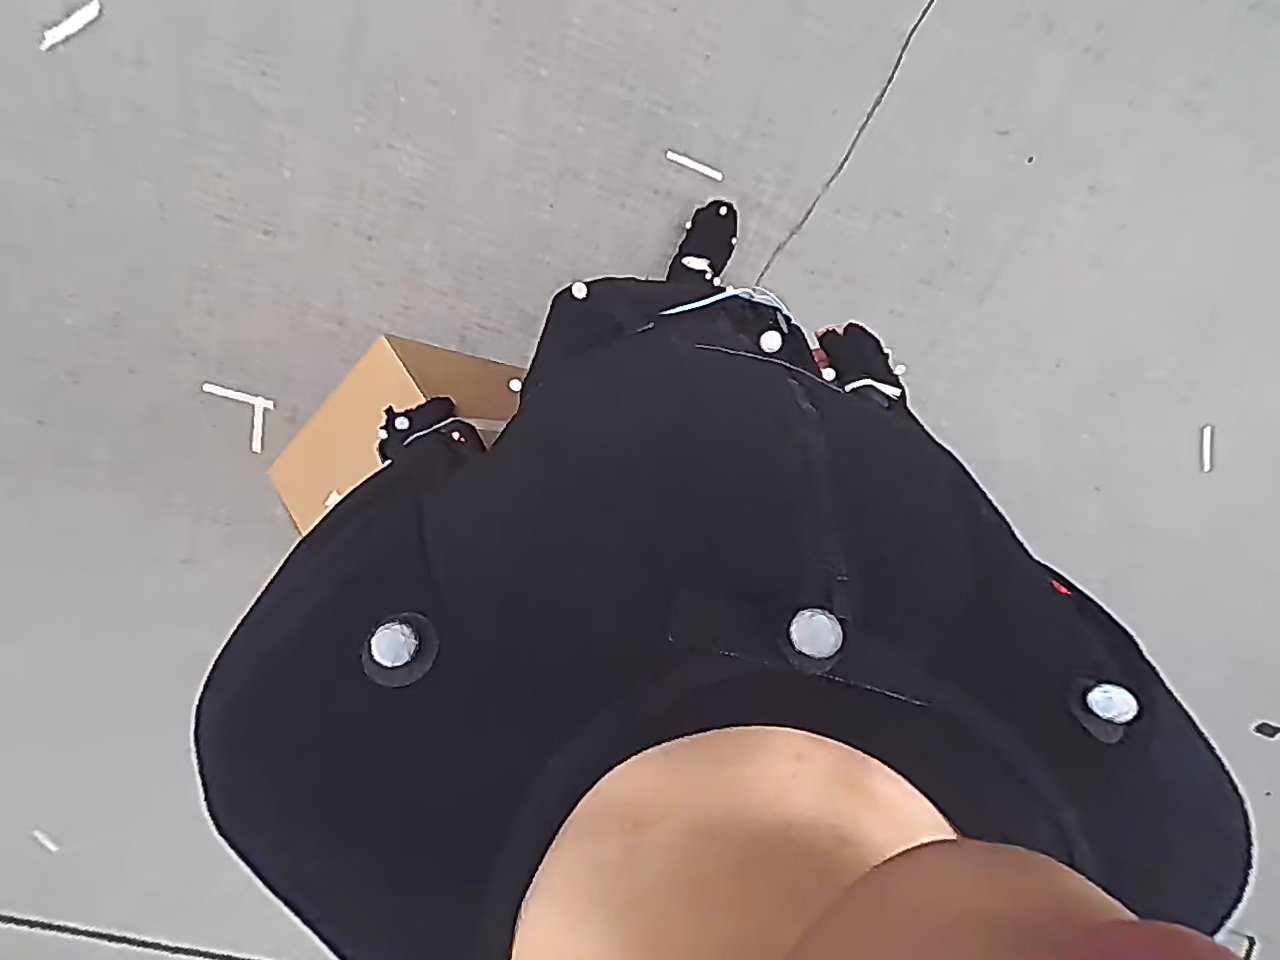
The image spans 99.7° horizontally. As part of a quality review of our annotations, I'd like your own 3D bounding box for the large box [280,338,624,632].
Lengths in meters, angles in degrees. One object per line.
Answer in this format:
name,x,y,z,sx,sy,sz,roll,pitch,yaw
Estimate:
large box,-0.295,0.005,0.940,0.320,0.408,0.320,-38,79,18
